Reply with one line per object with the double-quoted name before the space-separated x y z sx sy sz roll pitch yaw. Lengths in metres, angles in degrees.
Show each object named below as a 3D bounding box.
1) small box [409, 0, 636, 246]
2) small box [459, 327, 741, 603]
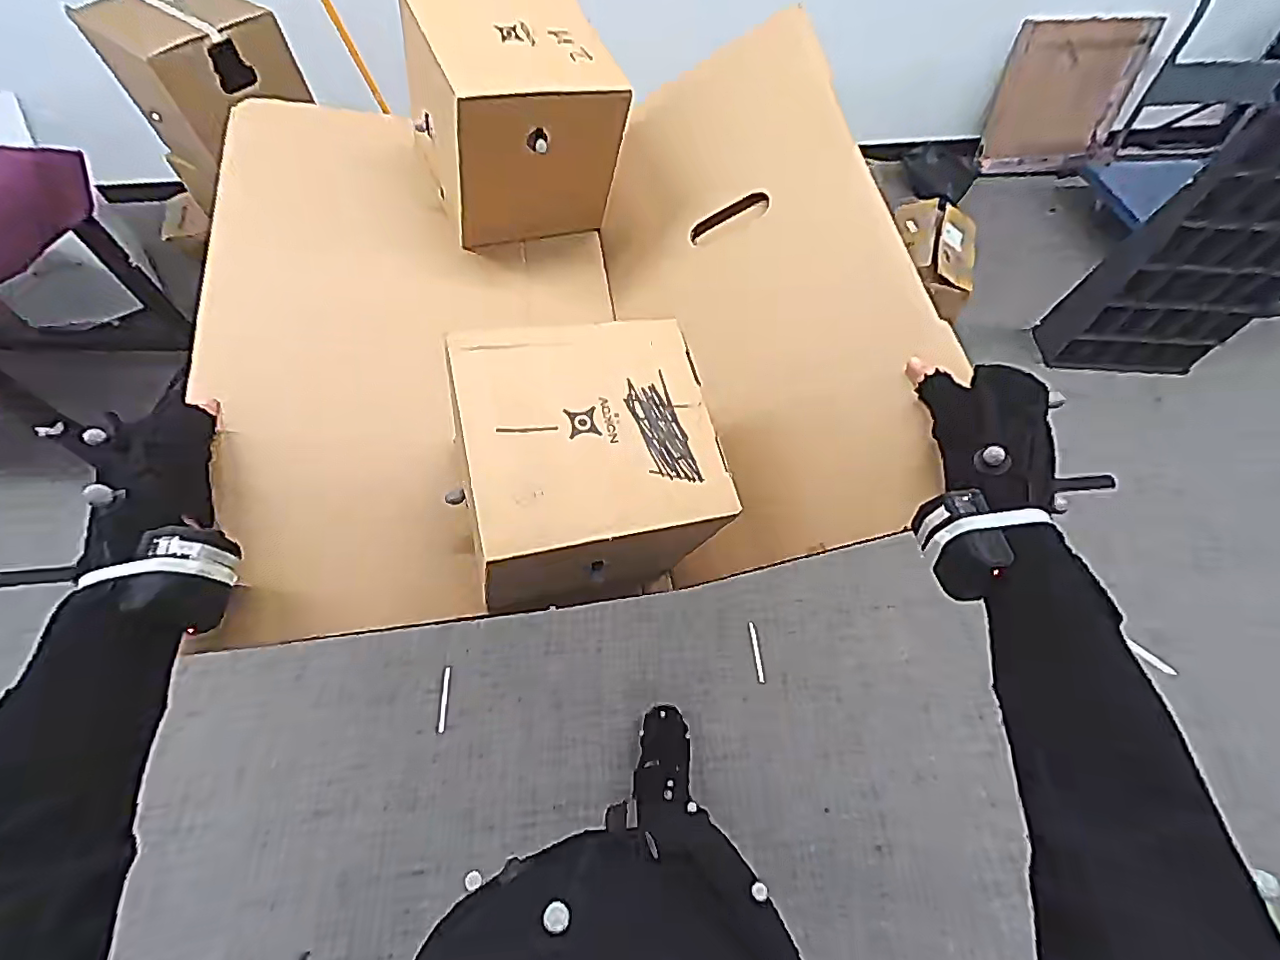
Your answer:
"small box" -0.130 -0.381 0.588 0.179 0.176 0.168 -19 74 -23
"small box" -0.047 -0.006 0.448 0.179 0.176 0.168 -9 71 -18
